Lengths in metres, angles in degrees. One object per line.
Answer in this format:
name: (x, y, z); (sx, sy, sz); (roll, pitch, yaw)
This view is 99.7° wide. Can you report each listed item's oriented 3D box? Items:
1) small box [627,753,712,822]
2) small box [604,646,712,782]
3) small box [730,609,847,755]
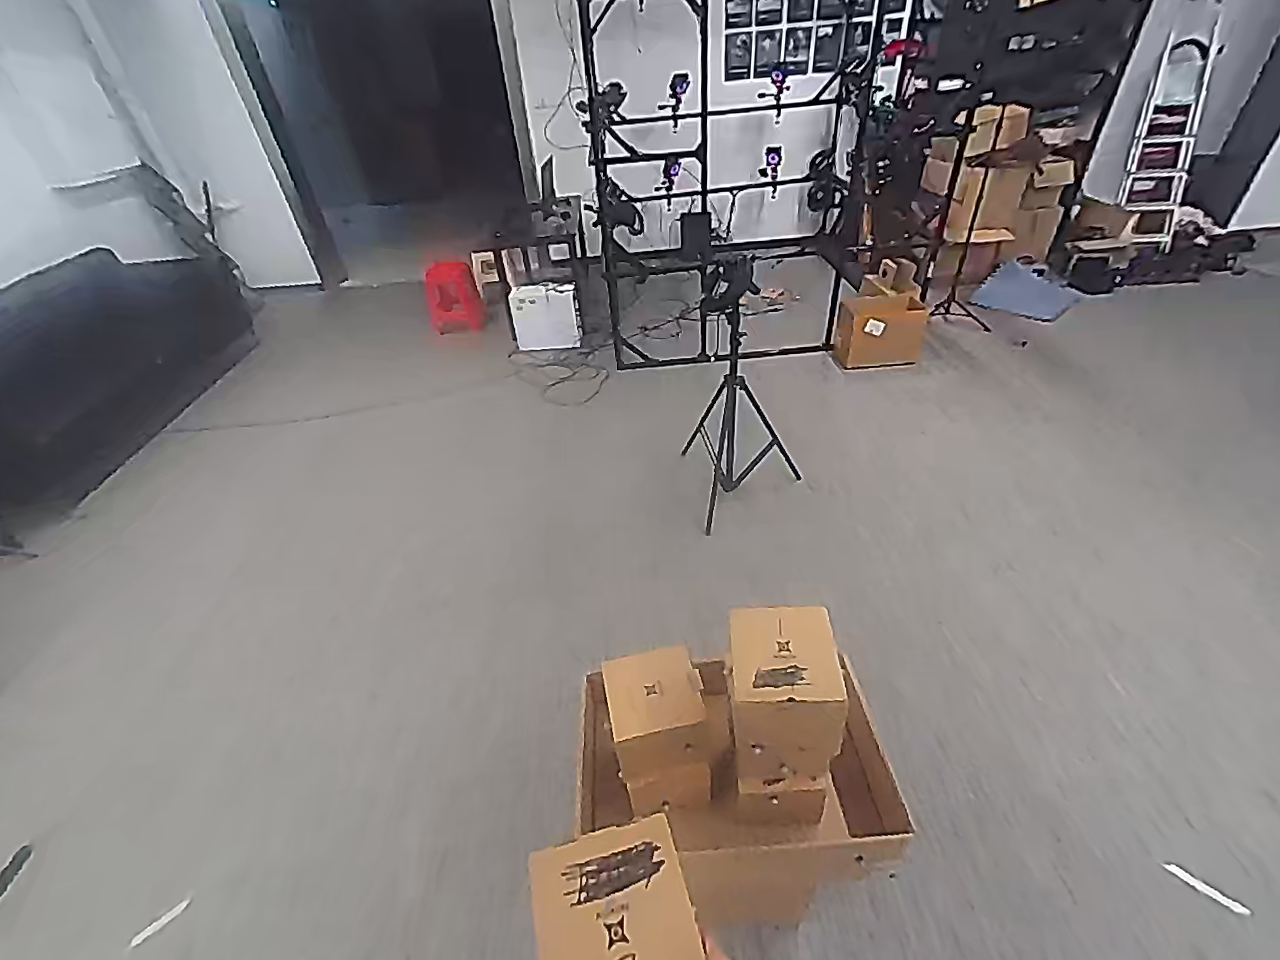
small box: (0.049, 0.587, 1.150); (0.168, 0.176, 0.179); (-10, 39, -6)
small box: (0.032, 0.456, 1.054); (0.179, 0.176, 0.168); (-10, 38, -7)
small box: (0.241, 0.339, 0.907); (0.168, 0.176, 0.179); (-3, 38, 8)
